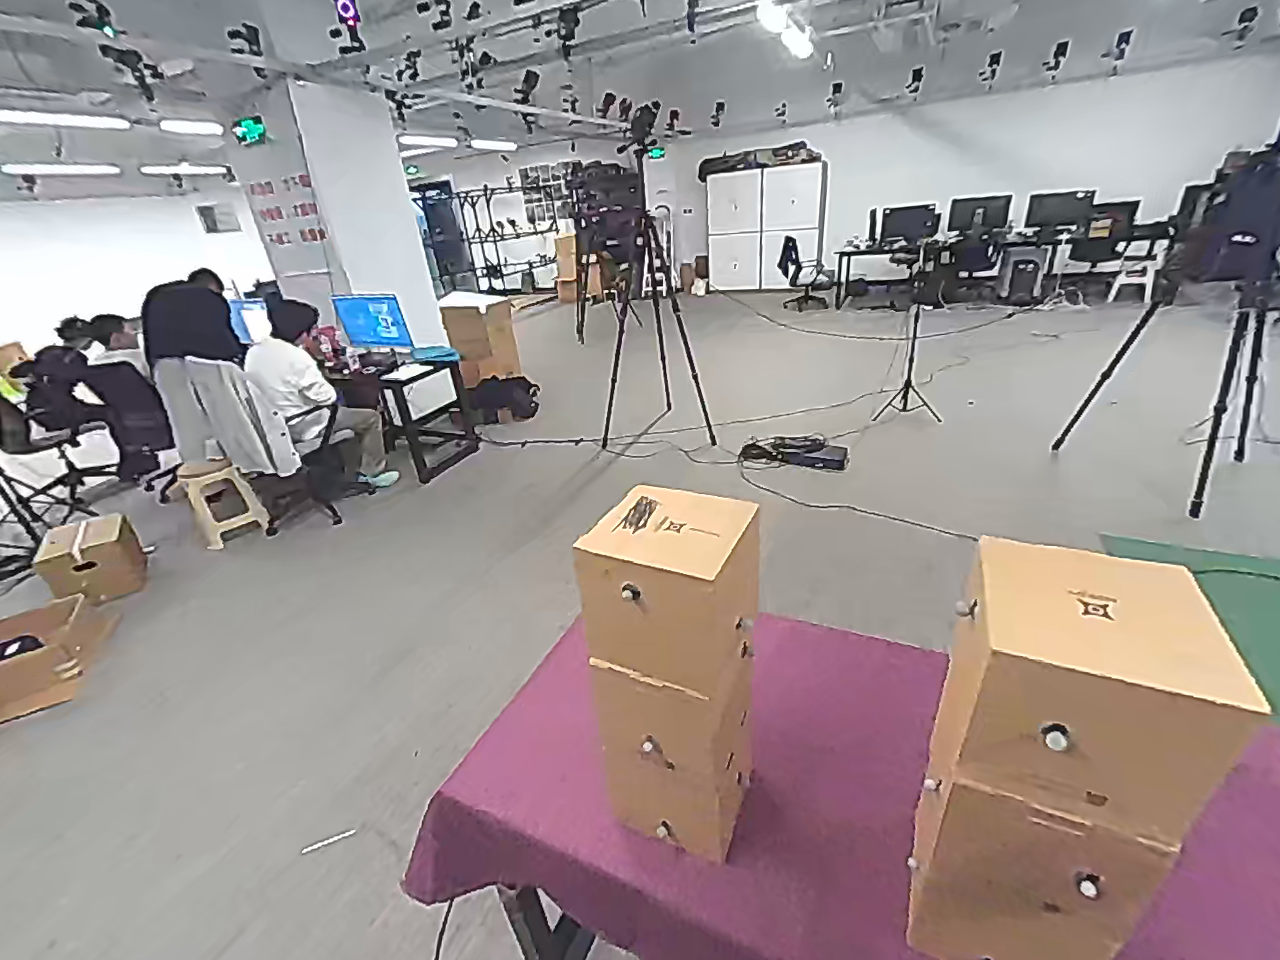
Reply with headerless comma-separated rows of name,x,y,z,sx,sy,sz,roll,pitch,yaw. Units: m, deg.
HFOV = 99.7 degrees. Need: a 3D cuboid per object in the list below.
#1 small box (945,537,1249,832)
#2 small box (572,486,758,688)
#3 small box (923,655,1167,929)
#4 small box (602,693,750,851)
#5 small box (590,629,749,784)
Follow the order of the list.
small box,0.395,0.181,0.509,0.168,0.176,0.179,9,30,25
small box,0.040,0.127,0.678,0.179,0.176,0.168,10,31,26
small box,0.410,0.325,0.583,0.168,0.176,0.179,9,31,25
small box,0.062,0.422,0.826,0.179,0.176,0.168,8,29,23
small box,0.049,0.273,0.754,0.168,0.176,0.179,7,30,25
